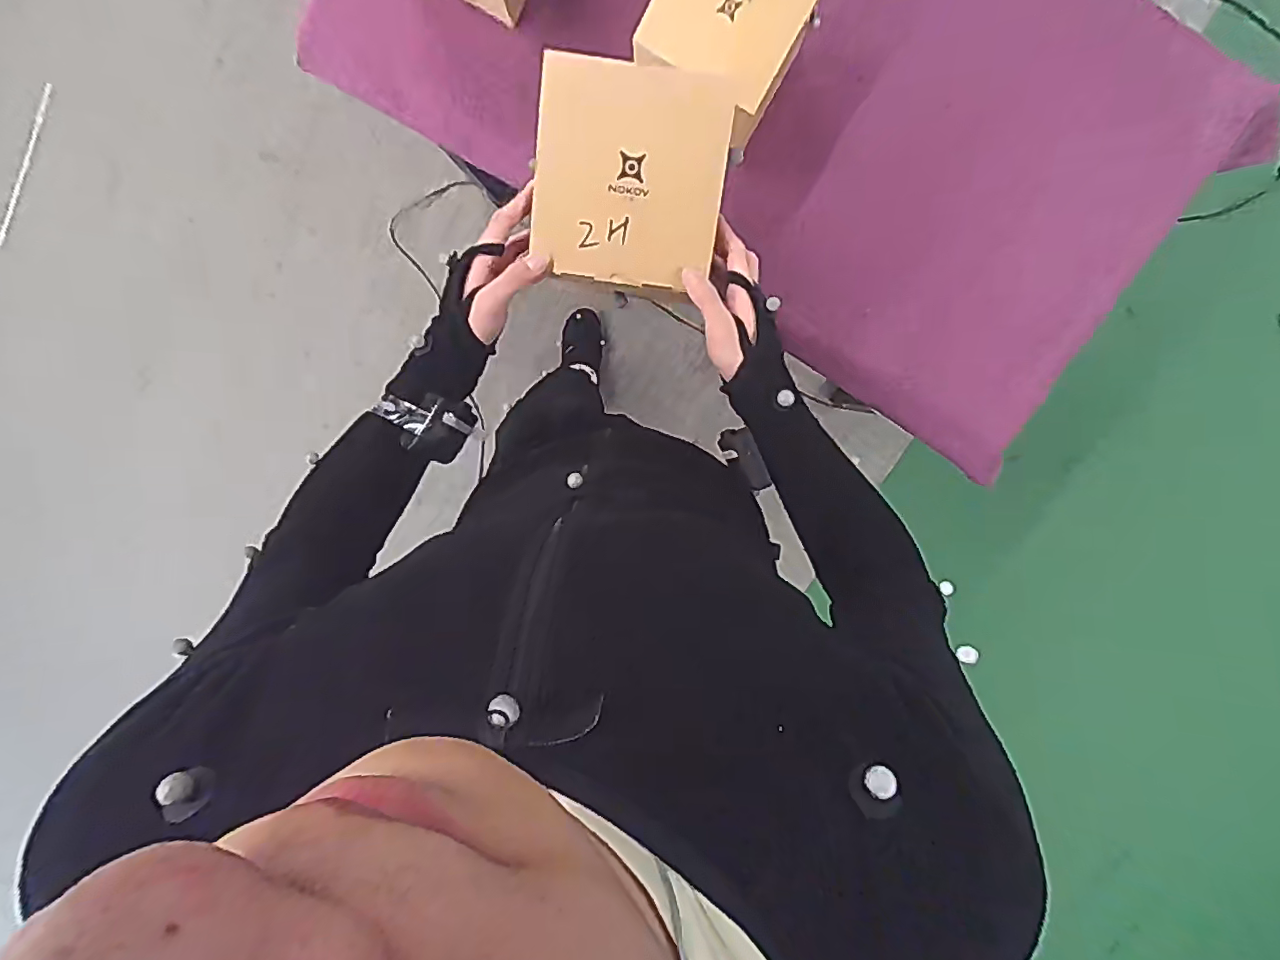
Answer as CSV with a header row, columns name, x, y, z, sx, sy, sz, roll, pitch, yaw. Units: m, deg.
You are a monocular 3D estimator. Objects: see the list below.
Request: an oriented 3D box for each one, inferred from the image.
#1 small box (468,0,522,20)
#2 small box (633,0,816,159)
name,x,y,z,sx,sy,sz,roll,pitch,yaw
small box,-0.209,-0.728,0.650,0.168,0.176,0.179,28,100,-5
small box,0.105,-0.554,0.686,0.168,0.176,0.179,28,99,-5
